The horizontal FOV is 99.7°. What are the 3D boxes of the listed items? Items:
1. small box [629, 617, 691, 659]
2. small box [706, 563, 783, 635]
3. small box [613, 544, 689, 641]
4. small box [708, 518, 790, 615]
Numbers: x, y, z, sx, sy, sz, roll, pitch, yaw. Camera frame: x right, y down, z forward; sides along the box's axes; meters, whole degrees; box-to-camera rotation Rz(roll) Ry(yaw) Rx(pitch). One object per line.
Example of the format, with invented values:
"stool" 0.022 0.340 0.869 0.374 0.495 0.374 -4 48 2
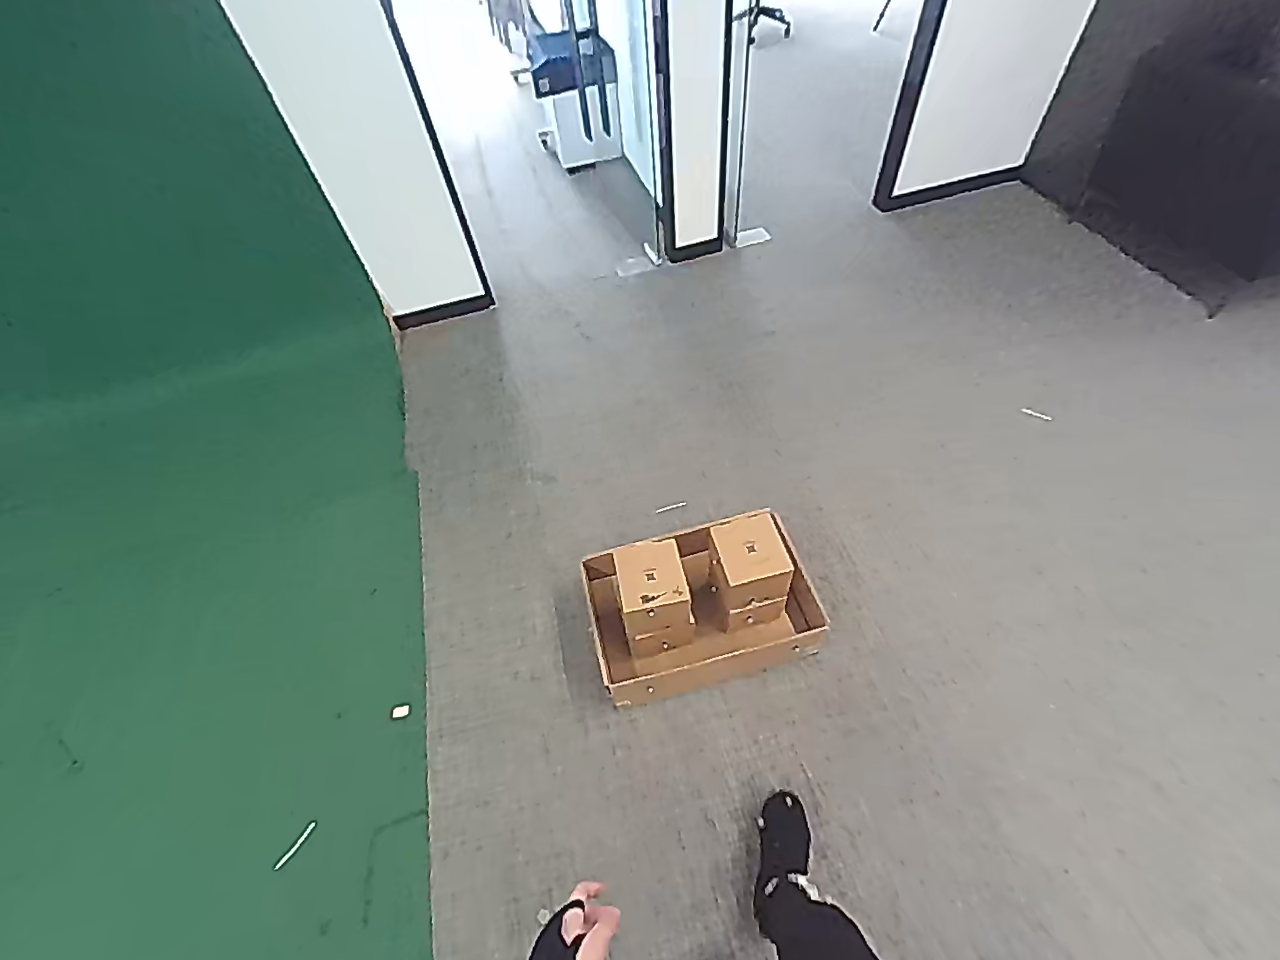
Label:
"small box" 0.043 0.393 1.540 0.168 0.176 0.179 -14 54 -8
"small box" 0.296 0.332 1.566 0.168 0.176 0.179 -15 53 -5
"small box" 0.027 0.294 1.409 0.168 0.176 0.179 -11 52 -3
"small box" 0.281 0.232 1.437 0.168 0.176 0.179 -14 54 -3
